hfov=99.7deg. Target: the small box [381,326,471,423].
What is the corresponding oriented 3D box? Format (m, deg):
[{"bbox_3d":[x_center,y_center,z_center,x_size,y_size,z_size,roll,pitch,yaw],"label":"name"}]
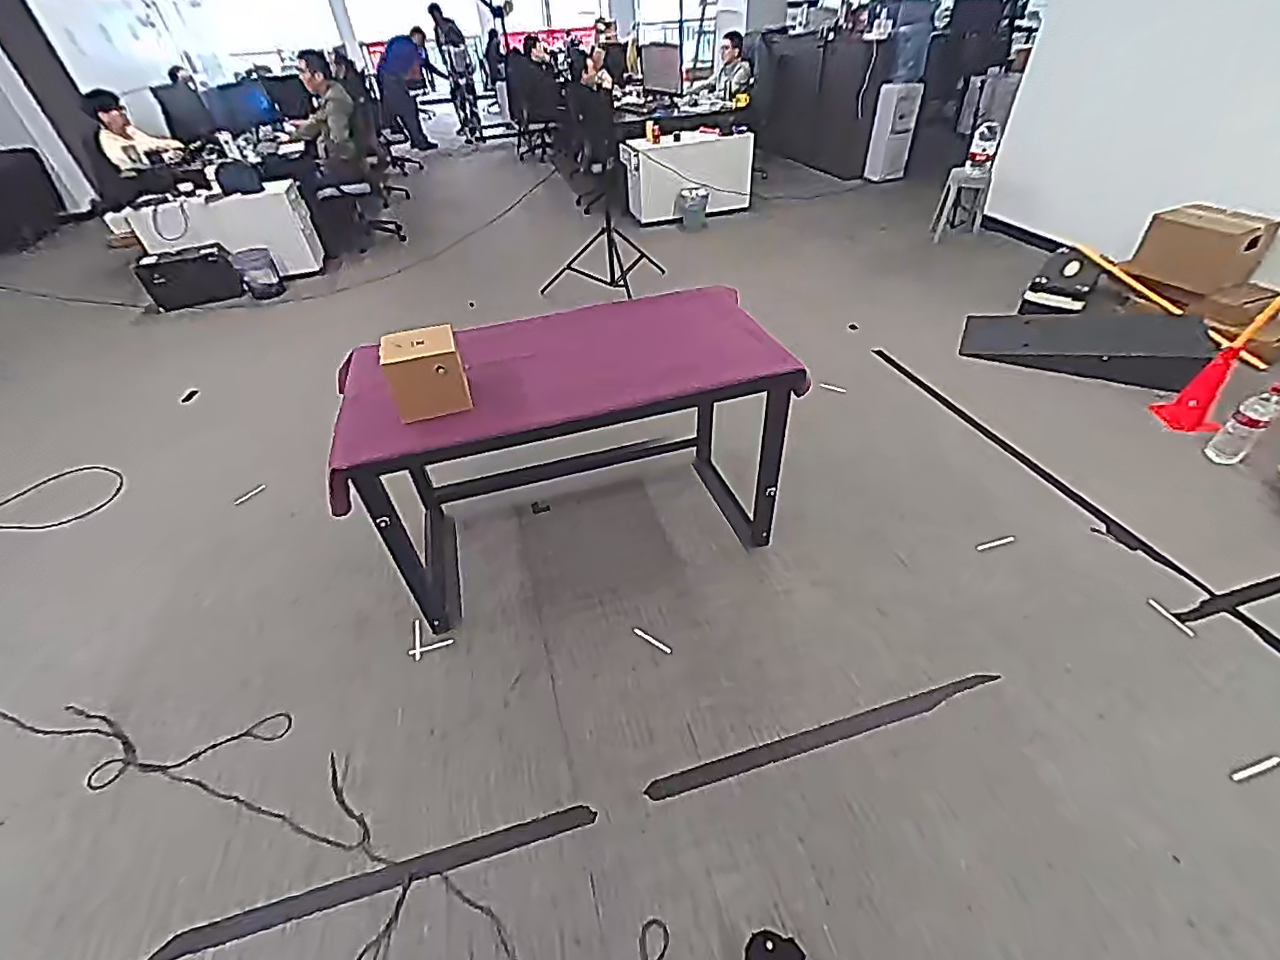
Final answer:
[{"bbox_3d":[-0.538,-0.268,1.378,0.179,0.176,0.168,-15,41,-12],"label":"small box"}]
